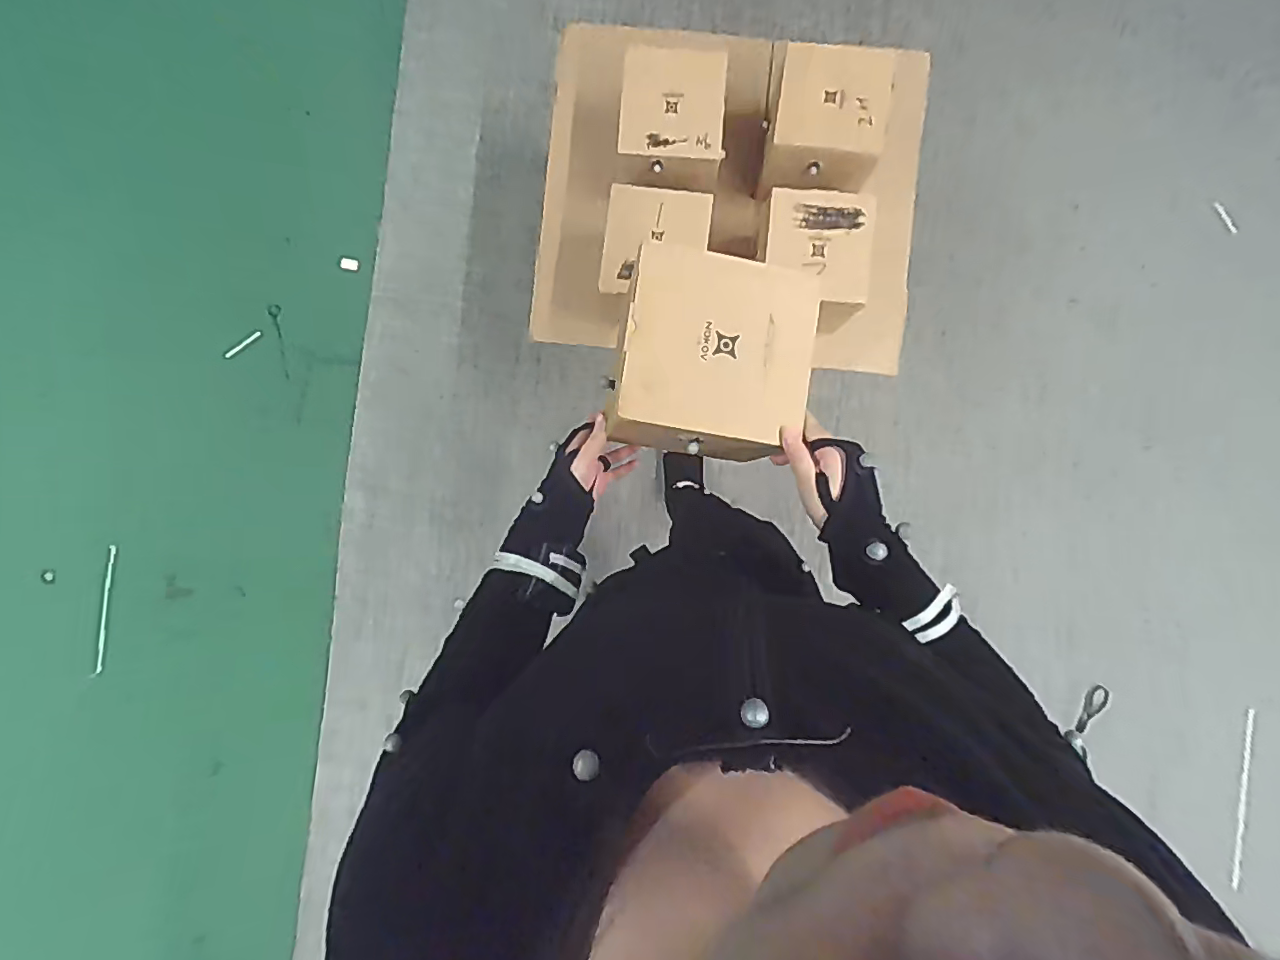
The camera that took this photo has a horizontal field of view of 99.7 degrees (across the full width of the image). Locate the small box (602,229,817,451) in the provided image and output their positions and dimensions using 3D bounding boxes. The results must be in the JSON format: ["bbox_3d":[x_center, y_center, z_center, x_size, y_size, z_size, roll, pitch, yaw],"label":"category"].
[{"bbox_3d":[0.059,-0.128,0.566,0.179,0.176,0.168,10,86,-6],"label":"small box"}]

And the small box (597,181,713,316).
[{"bbox_3d":[0.028,-0.376,0.930,0.168,0.176,0.179,8,89,2],"label":"small box"}]

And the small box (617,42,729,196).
[{"bbox_3d":[0.056,-0.598,0.929,0.168,0.176,0.179,5,89,4],"label":"small box"}]
